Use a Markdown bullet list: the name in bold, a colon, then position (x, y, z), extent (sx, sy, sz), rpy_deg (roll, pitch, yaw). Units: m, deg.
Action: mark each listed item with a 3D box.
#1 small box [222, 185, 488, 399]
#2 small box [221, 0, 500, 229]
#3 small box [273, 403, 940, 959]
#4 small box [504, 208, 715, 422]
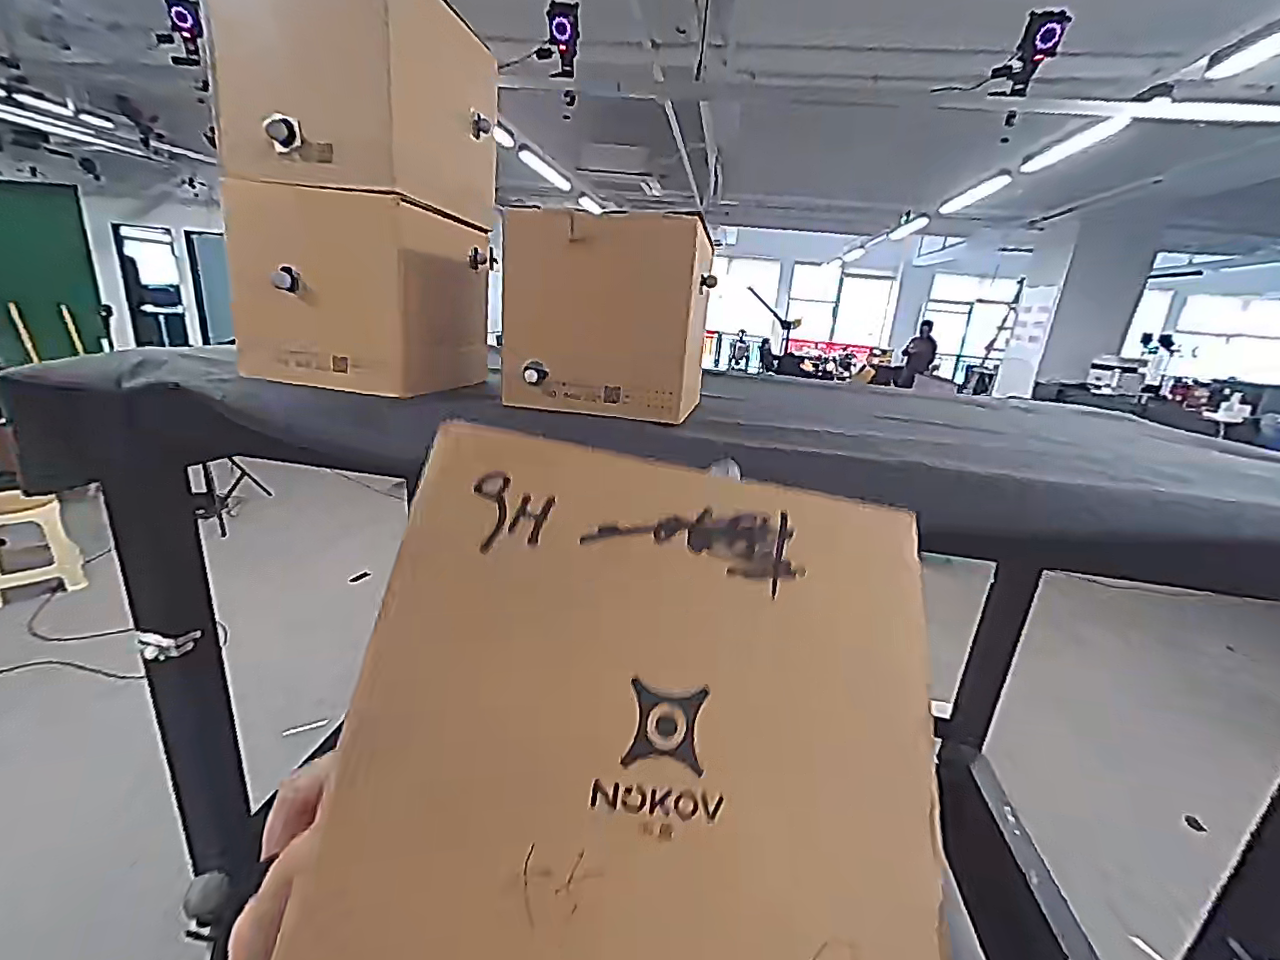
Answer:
- **small box**: position (-0.264, -0.178, 0.542), extent (0.168, 0.176, 0.179), rpy_deg (8, 15, 7)
- **small box**: position (-0.244, -0.333, 0.498), extent (0.168, 0.176, 0.179), rpy_deg (7, 16, 9)
- **small box**: position (-0.009, 0.096, 0.223), extent (0.168, 0.179, 0.176), rpy_deg (11, -21, -8)
- **small box**: position (-0.021, -0.155, 0.532), extent (0.168, 0.176, 0.179), rpy_deg (8, 15, 9)
